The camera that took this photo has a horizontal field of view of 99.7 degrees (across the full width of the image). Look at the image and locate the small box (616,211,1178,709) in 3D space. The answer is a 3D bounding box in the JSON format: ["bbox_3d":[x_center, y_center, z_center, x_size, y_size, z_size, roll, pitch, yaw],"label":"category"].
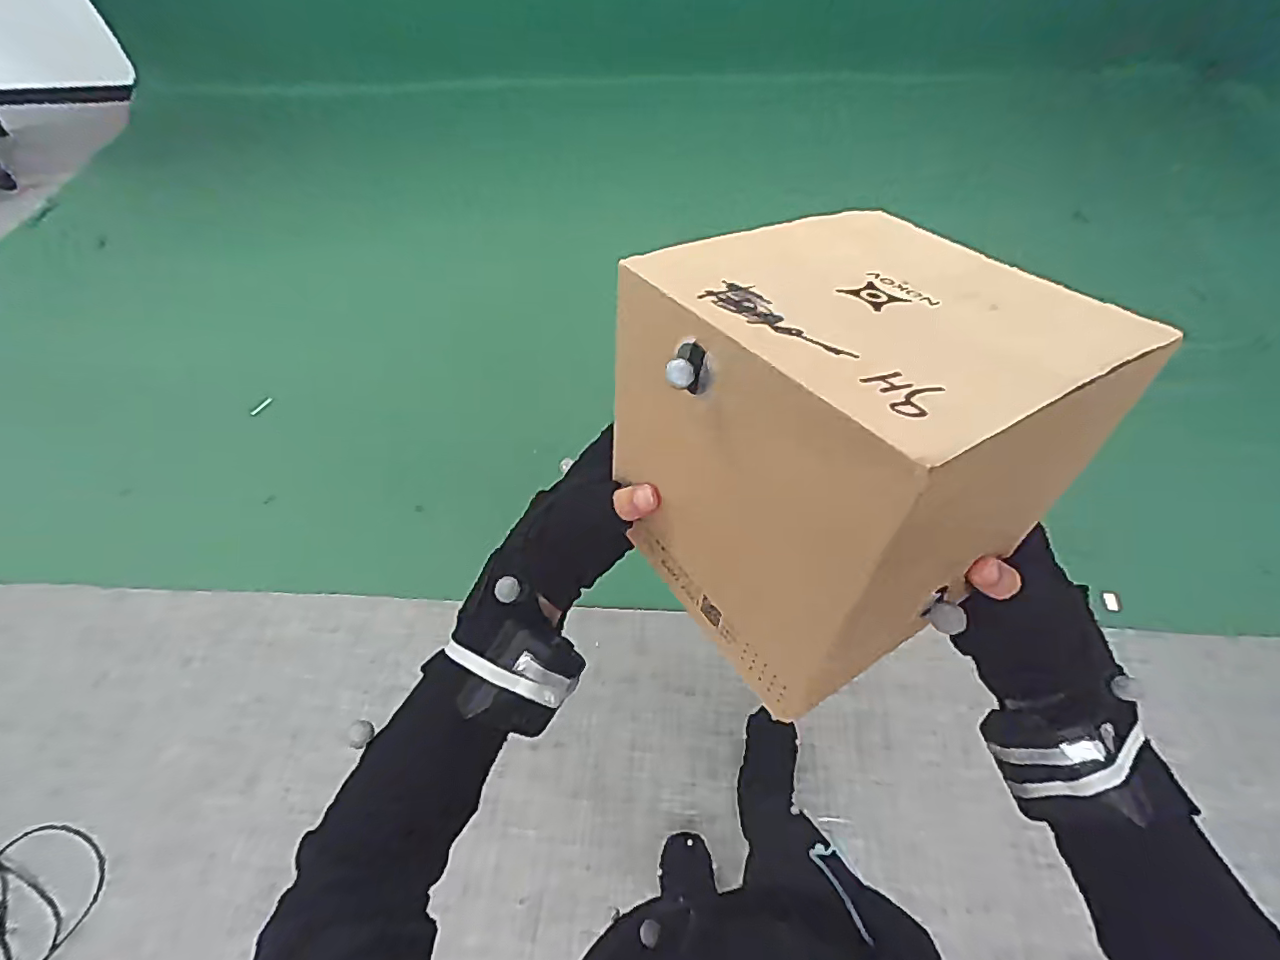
[{"bbox_3d":[0.100,-0.021,0.284,0.179,0.176,0.168,-21,48,-26],"label":"small box"}]
